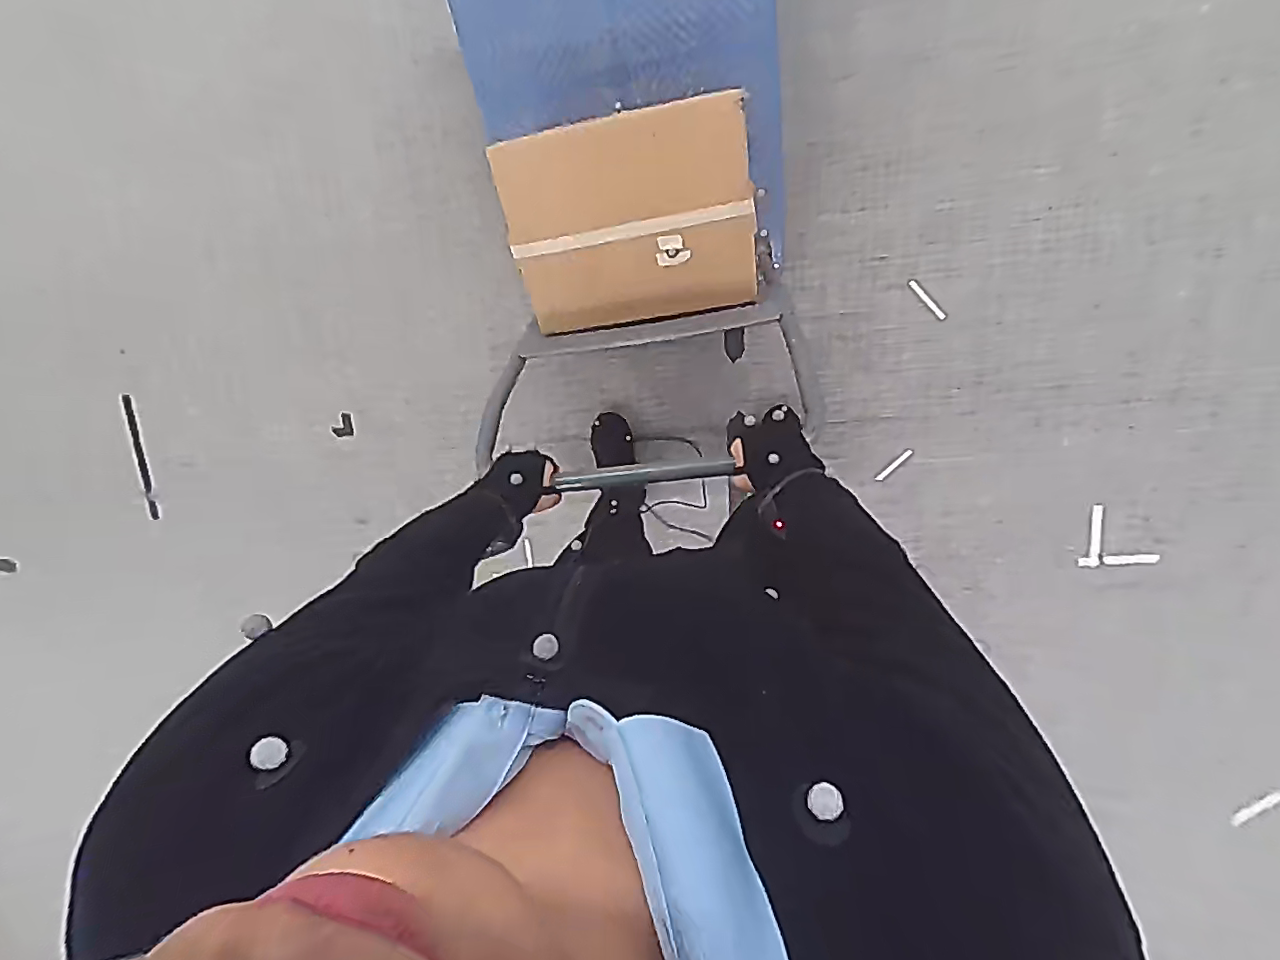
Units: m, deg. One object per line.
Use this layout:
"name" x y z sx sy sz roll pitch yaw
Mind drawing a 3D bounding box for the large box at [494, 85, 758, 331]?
"large box" -0.005 -0.518 1.036 0.408 0.320 0.320 -7 125 9
